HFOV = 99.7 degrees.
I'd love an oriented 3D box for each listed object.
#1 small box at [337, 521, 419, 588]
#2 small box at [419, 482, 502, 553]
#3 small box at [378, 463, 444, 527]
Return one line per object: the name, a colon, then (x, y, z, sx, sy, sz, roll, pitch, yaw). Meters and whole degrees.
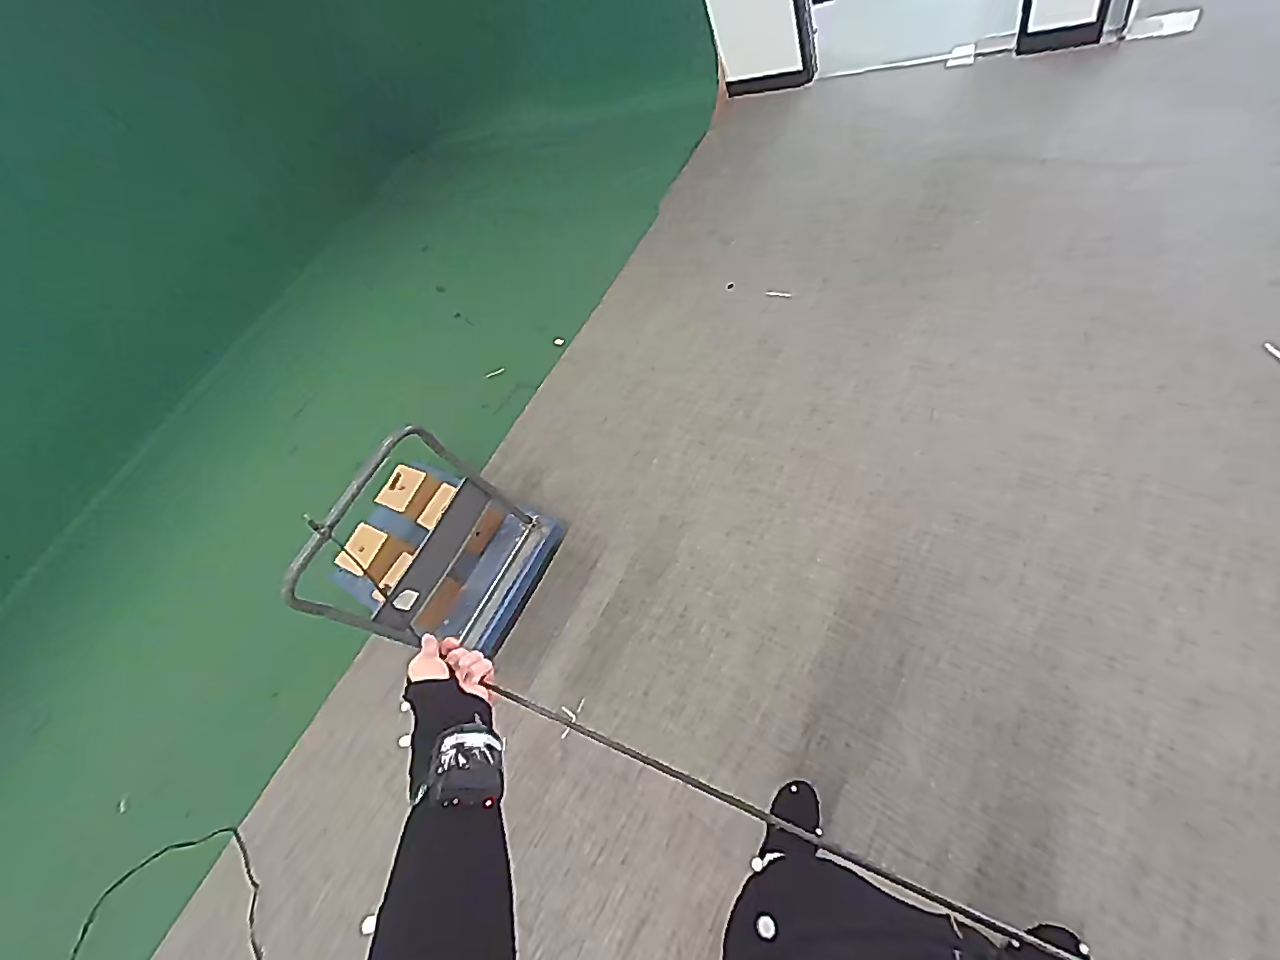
small box: (-0.944, 0.275, 1.964, 0.179, 0.176, 0.168, 15, 68, 32)
small box: (-0.625, 0.134, 1.894, 0.179, 0.176, 0.168, 20, 72, 33)
small box: (-0.838, 0.060, 2.042, 0.179, 0.176, 0.168, 15, 70, 31)
